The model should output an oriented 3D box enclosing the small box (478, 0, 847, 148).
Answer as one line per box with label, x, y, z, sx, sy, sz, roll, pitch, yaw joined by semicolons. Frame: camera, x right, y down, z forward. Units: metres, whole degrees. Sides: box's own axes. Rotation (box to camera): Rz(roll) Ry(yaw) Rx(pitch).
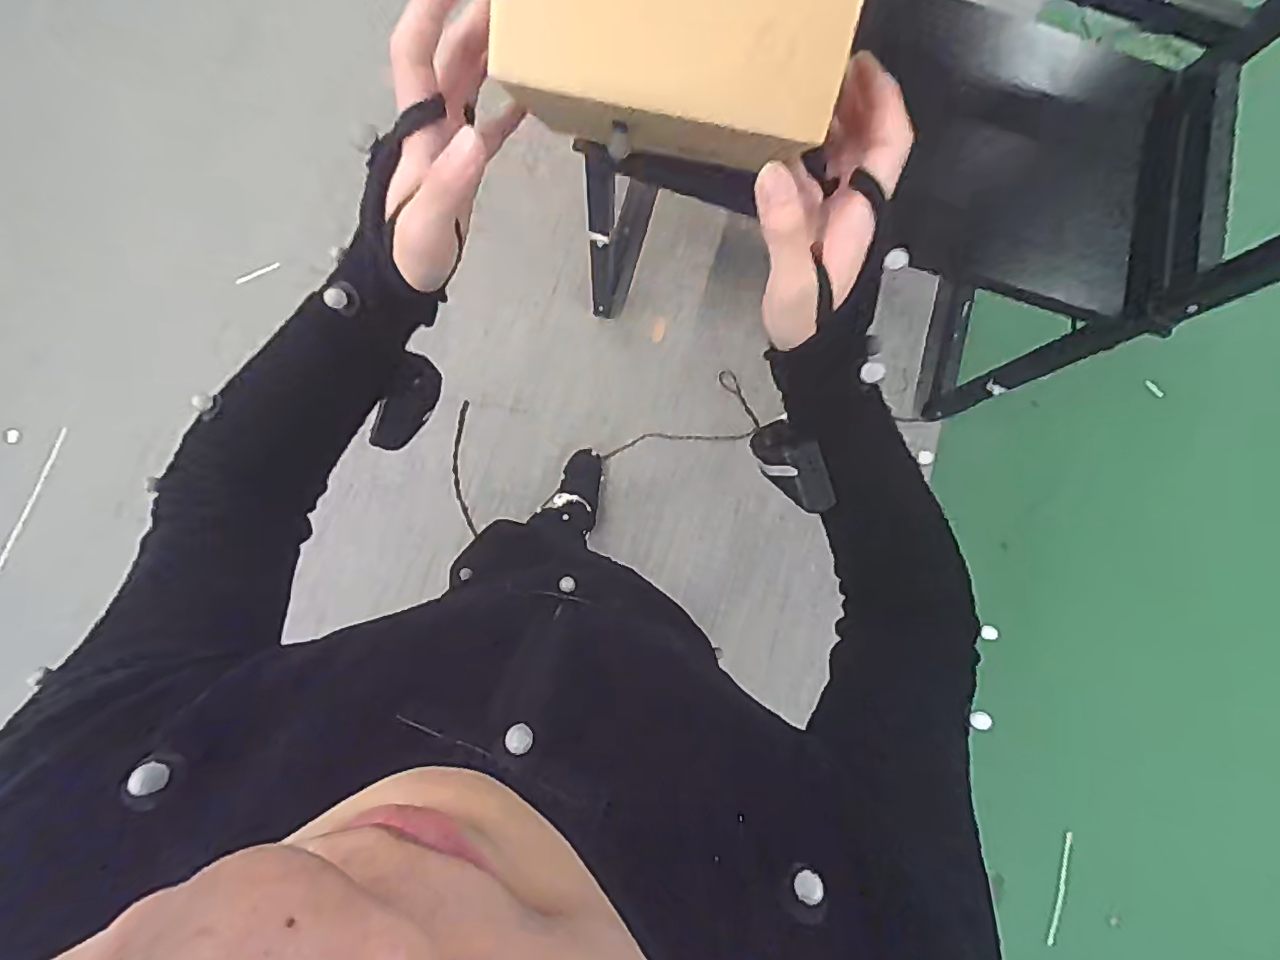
small box;0.023;-0.296;0.288;0.168;0.176;0.179;10;115;-2
